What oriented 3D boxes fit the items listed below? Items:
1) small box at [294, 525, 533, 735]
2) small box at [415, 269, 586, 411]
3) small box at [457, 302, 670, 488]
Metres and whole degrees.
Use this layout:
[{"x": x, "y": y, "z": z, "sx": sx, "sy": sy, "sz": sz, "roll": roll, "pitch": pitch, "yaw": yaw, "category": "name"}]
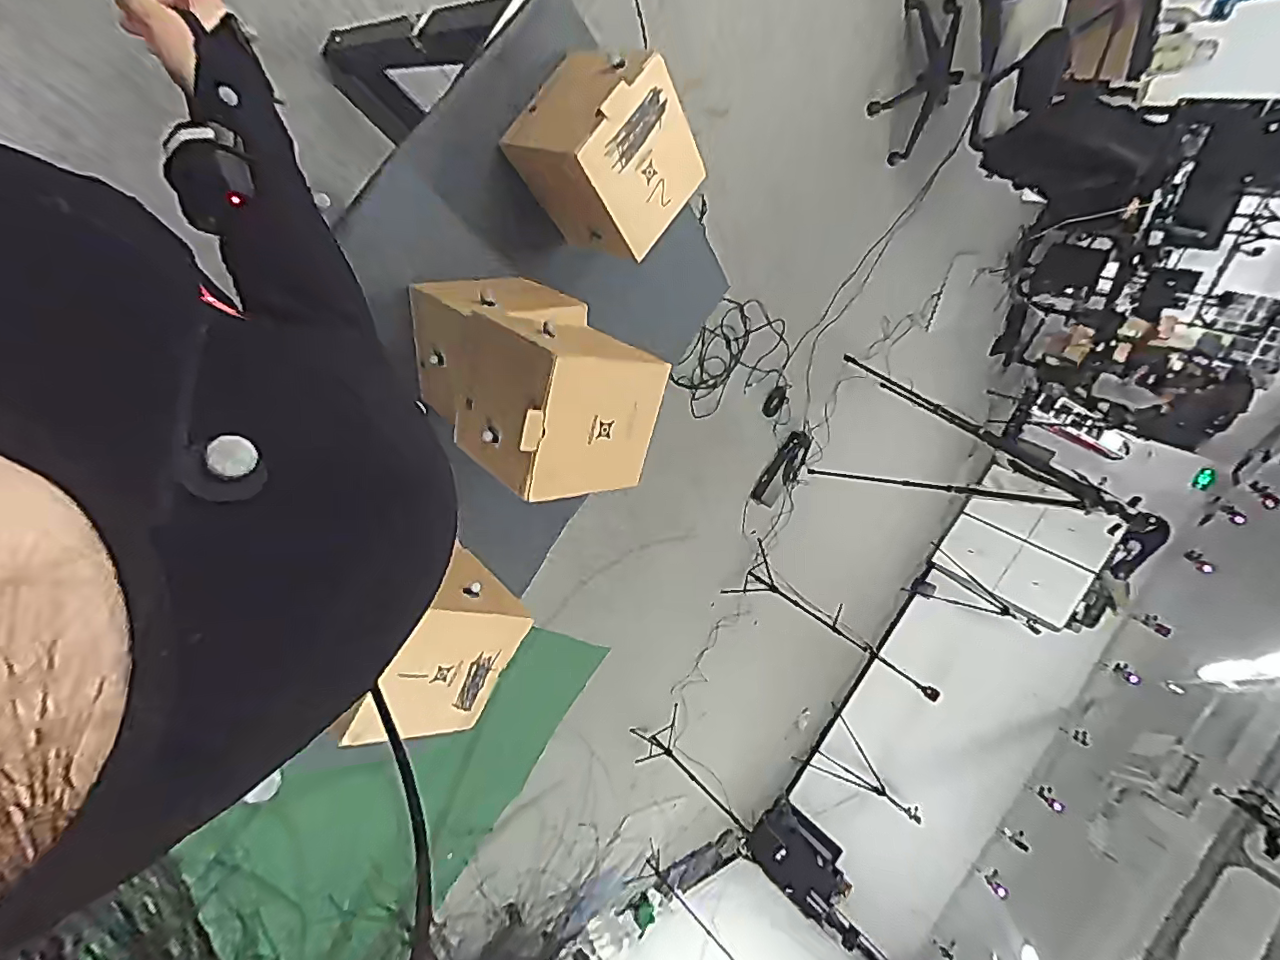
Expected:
[{"x": -0.271, "y": 0.171, "z": 0.652, "sx": 0.179, "sy": 0.176, "sz": 0.168, "roll": 25, "pitch": 94, "yaw": -54, "category": "small box"}, {"x": -0.197, "y": -0.190, "z": 0.753, "sx": 0.179, "sy": 0.176, "sz": 0.168, "roll": -22, "pitch": 132, "yaw": -39, "category": "small box"}, {"x": -0.098, "y": -0.107, "z": 0.652, "sx": 0.179, "sy": 0.176, "sz": 0.168, "roll": -10, "pitch": 124, "yaw": -46, "category": "small box"}]
